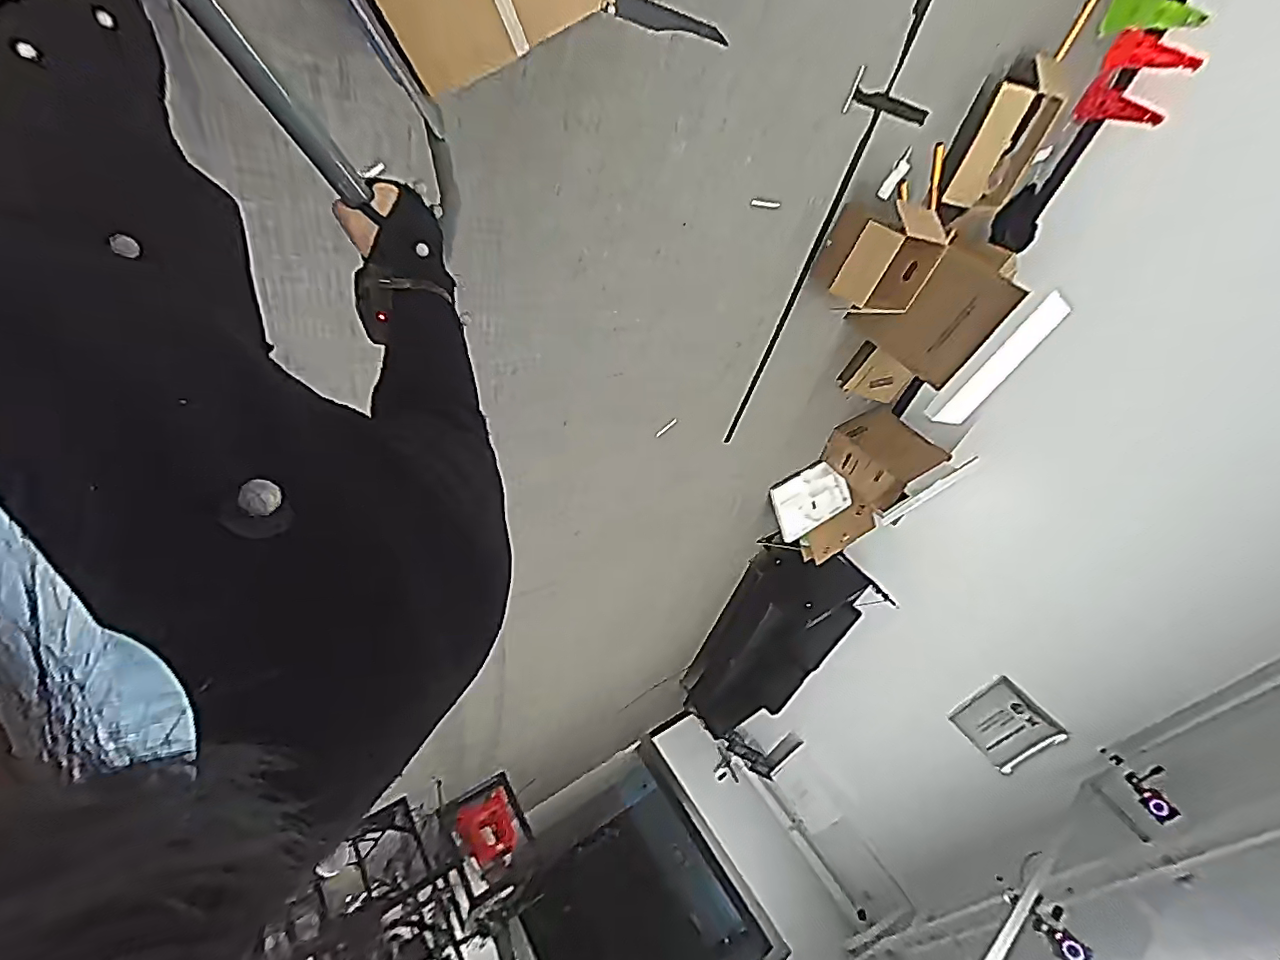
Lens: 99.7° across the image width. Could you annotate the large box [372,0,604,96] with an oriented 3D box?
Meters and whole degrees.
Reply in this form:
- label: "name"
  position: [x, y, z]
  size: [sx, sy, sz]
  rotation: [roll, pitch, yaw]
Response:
- label: "large box"
  position: [-0.294, -0.856, 0.726]
  size: [0.320, 0.320, 0.408]
  rotation: [-26, 150, 3]
